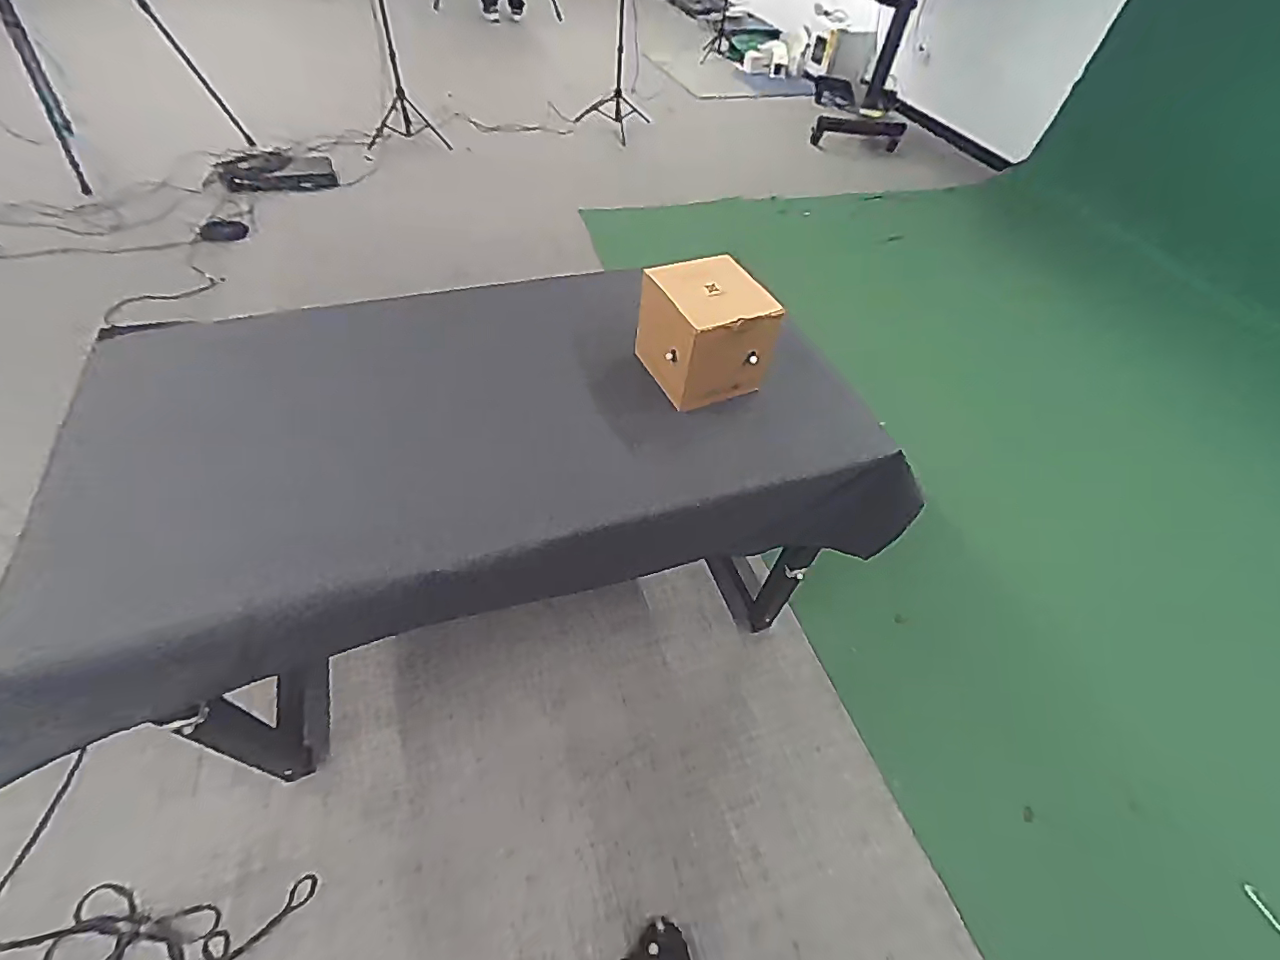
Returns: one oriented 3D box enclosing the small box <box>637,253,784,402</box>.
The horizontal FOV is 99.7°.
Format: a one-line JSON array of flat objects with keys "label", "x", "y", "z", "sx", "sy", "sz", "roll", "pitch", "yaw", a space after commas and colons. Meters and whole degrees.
[{"label": "small box", "x": 0.107, "y": -0.250, "z": 0.908, "sx": 0.168, "sy": 0.176, "sz": 0.179, "roll": -18, "pitch": 54, "yaw": -21}]
